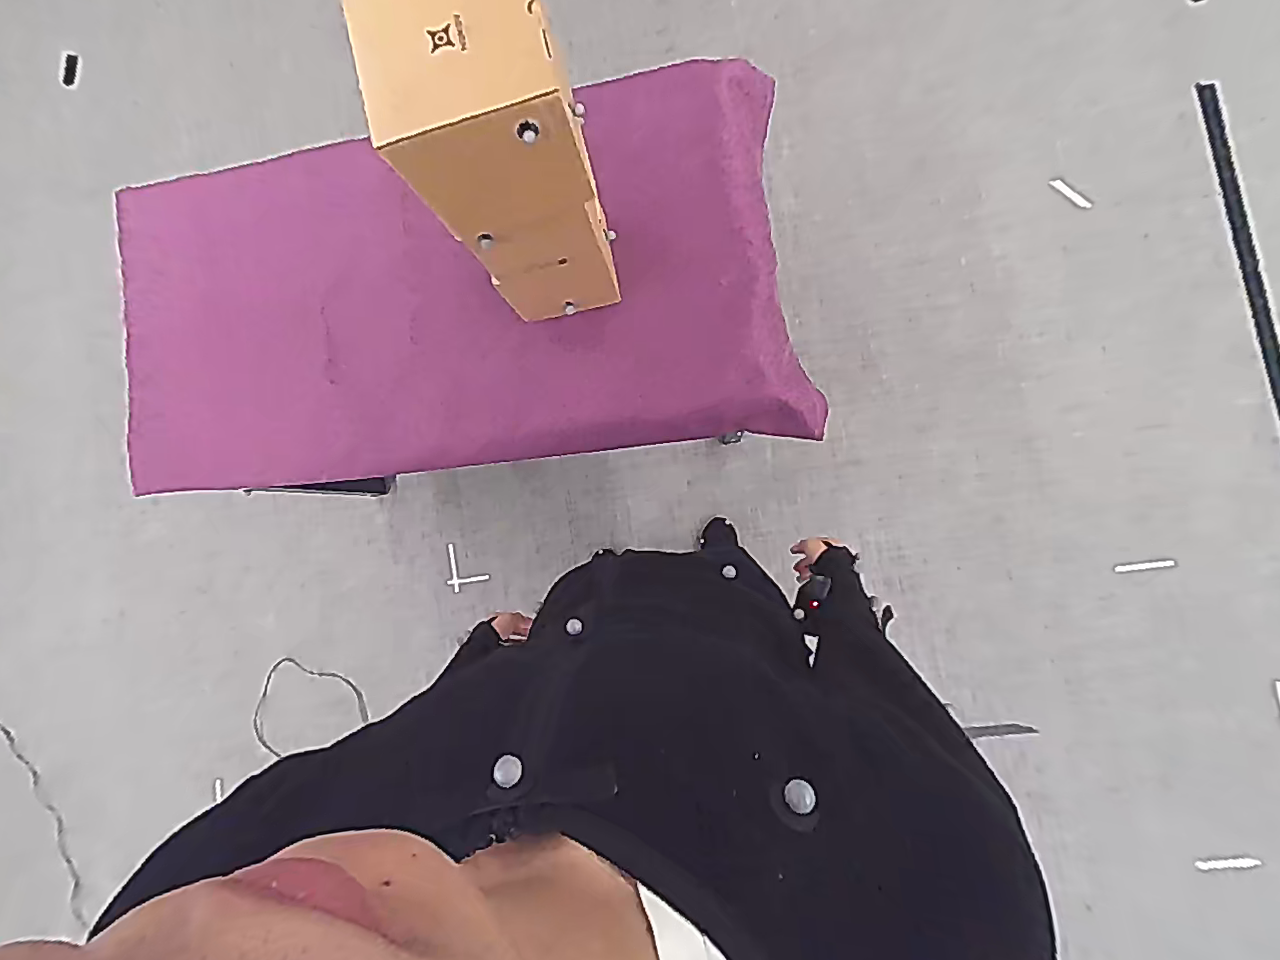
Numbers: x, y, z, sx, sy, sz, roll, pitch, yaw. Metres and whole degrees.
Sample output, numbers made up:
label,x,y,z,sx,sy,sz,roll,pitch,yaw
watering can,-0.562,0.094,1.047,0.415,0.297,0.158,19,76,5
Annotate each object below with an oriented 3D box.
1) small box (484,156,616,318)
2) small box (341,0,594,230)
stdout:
label,x,y,z,sx,sy,sz,roll,pitch,yaw
small box,-0.140,-0.381,0.874,0.179,0.176,0.168,-11,85,5
small box,-0.160,-0.385,0.546,0.179,0.176,0.168,-14,85,5
